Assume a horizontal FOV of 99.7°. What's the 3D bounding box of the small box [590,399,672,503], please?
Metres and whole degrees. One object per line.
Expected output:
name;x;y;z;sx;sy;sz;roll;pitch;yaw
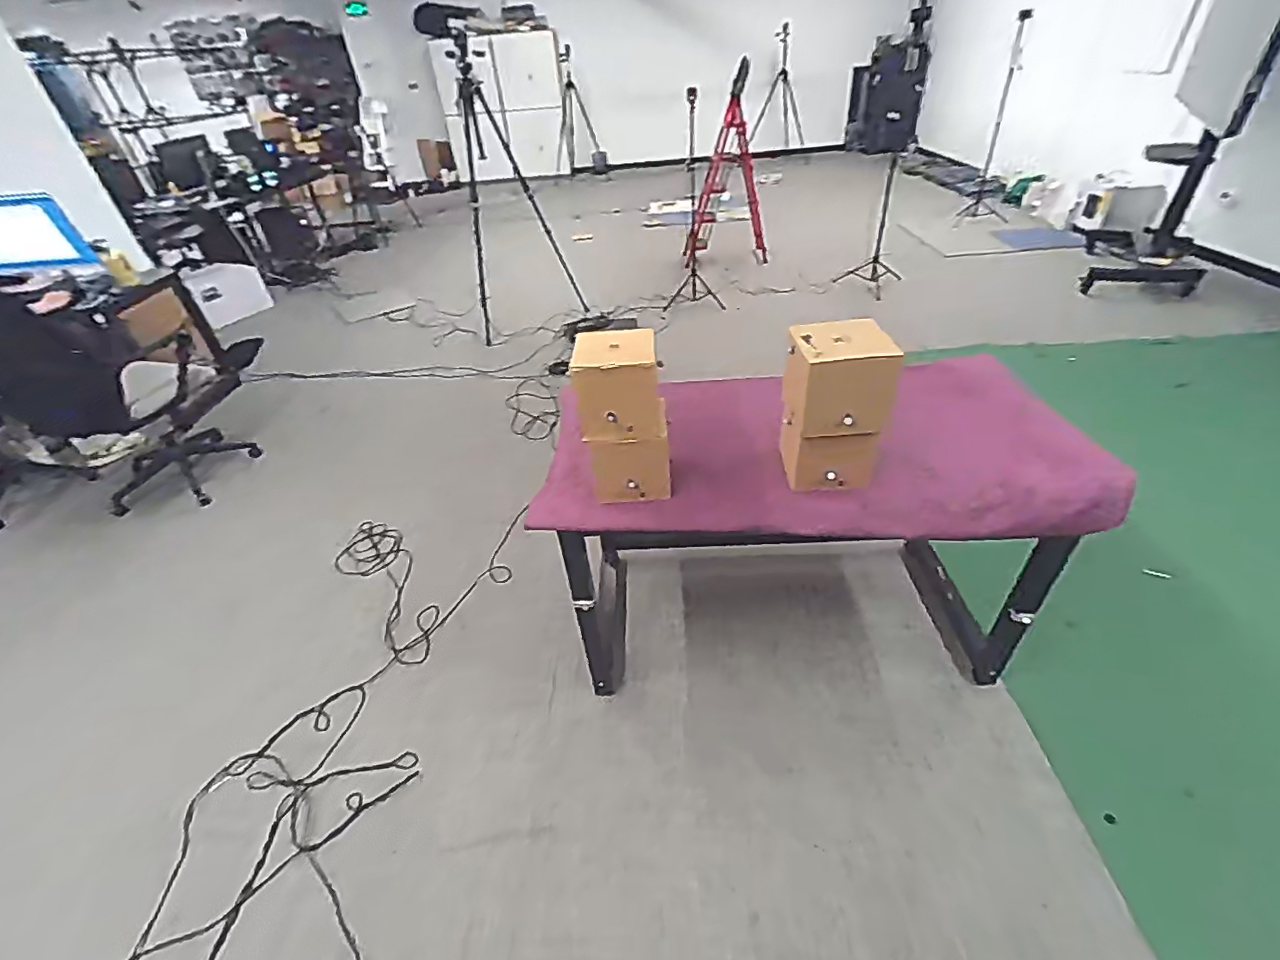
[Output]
small box;-0.015;-0.066;1.221;0.168;0.176;0.179;-4;37;3

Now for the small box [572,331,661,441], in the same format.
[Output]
small box;-0.043;-0.198;1.130;0.168;0.176;0.179;-3;37;3

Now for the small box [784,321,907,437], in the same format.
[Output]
small box;0.397;-0.201;1.080;0.179;0.176;0.168;-4;38;2

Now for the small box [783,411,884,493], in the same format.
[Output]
small box;0.418;-0.089;1.201;0.168;0.176;0.179;-2;38;5
